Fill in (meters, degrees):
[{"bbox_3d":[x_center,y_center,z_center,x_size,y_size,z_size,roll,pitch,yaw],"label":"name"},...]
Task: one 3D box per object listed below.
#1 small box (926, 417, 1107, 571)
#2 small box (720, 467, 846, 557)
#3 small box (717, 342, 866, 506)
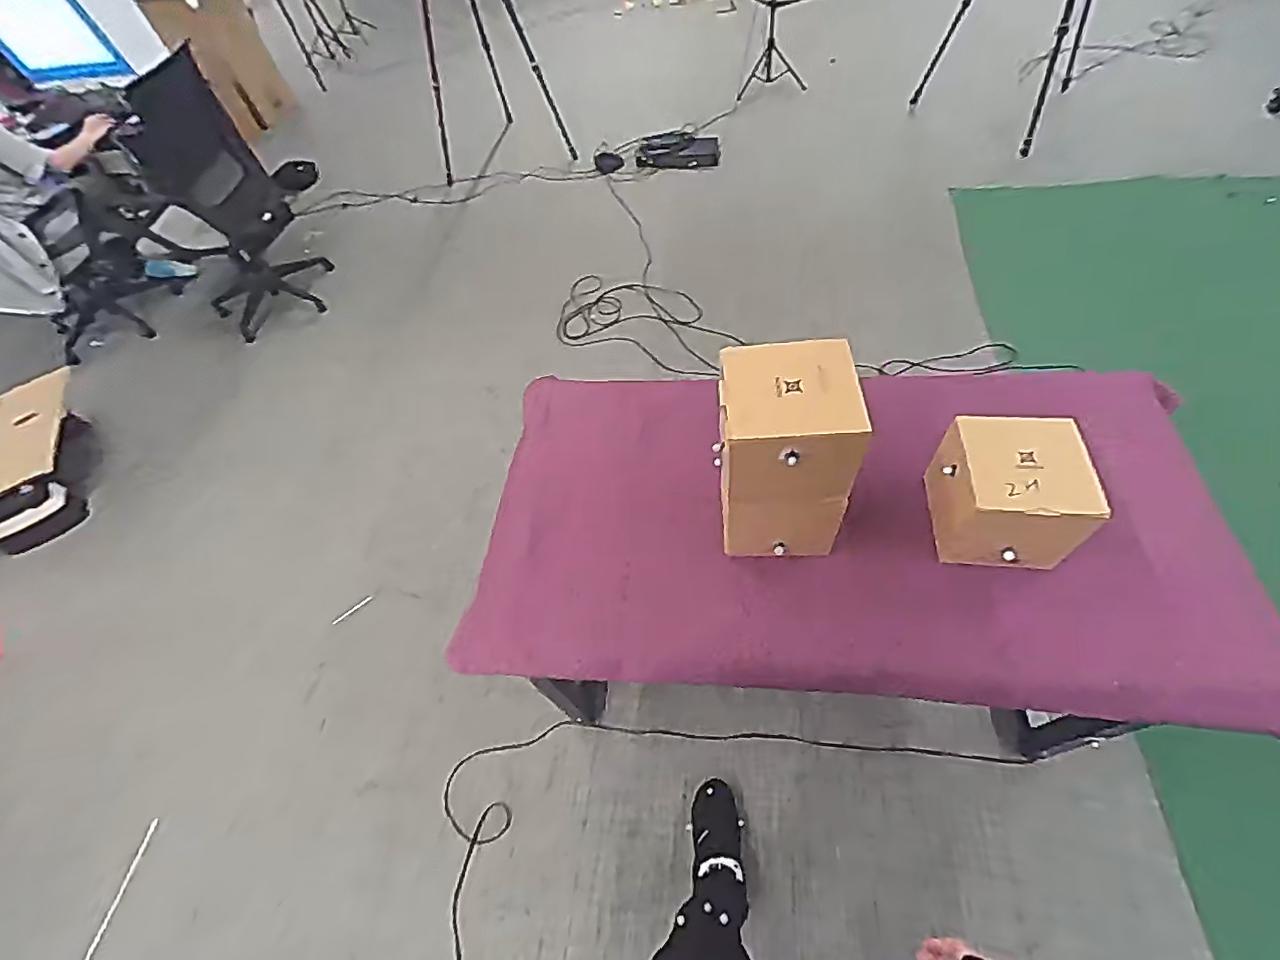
[{"bbox_3d":[0.567,0.022,0.848,0.168,0.176,0.179,3,56,11],"label":"small box"},{"bbox_3d":[0.226,0.020,0.903,0.179,0.176,0.168,-2,55,7],"label":"small box"},{"bbox_3d":[0.203,-0.072,0.769,0.179,0.176,0.168,-3,56,7],"label":"small box"}]
